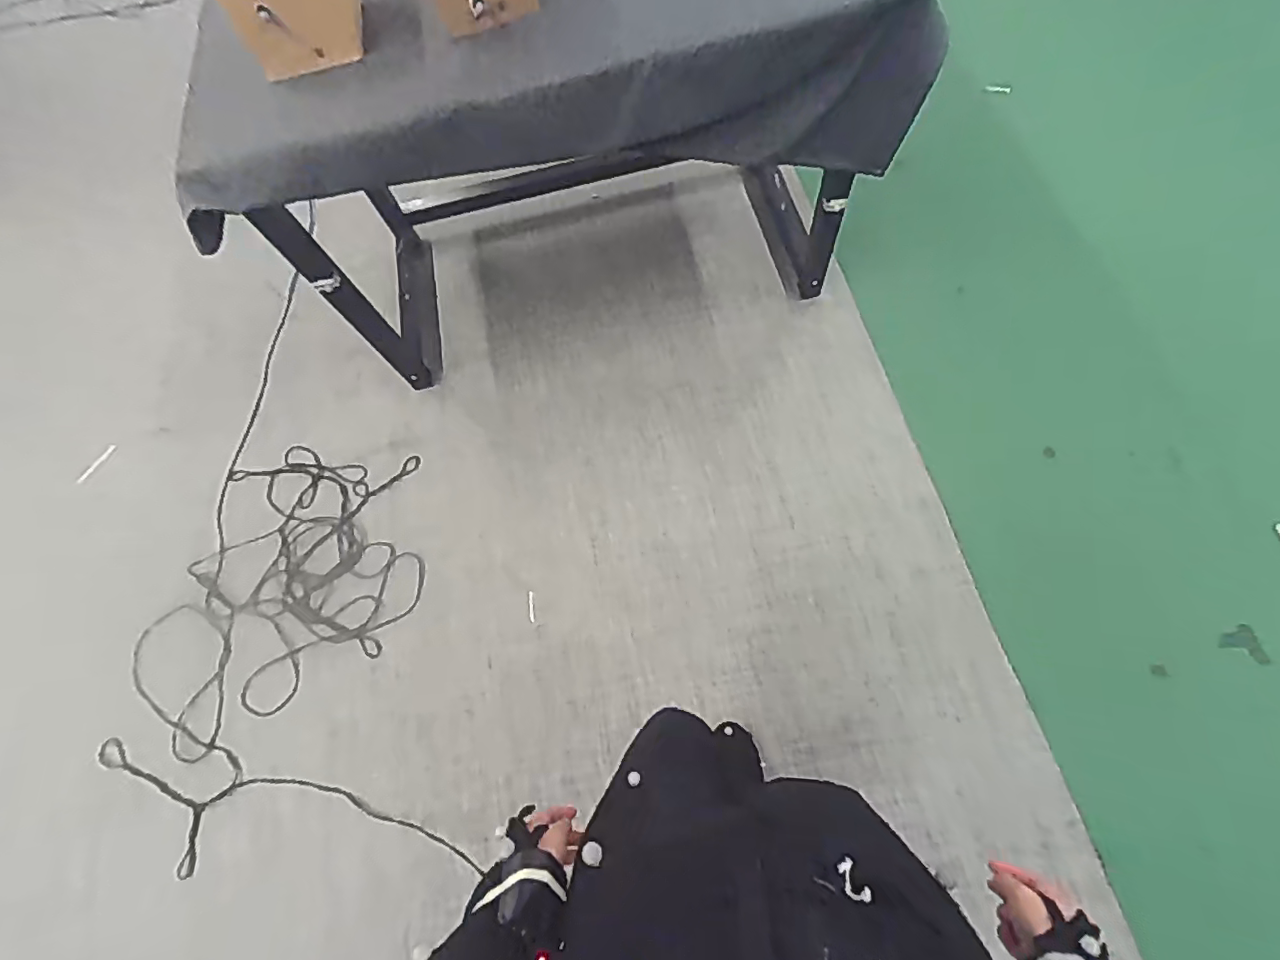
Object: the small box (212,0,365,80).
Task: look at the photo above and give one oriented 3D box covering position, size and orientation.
[{"bbox_3d":[-0.568,-0.787,0.874,0.168,0.176,0.179,-14,67,1],"label":"small box"}]
